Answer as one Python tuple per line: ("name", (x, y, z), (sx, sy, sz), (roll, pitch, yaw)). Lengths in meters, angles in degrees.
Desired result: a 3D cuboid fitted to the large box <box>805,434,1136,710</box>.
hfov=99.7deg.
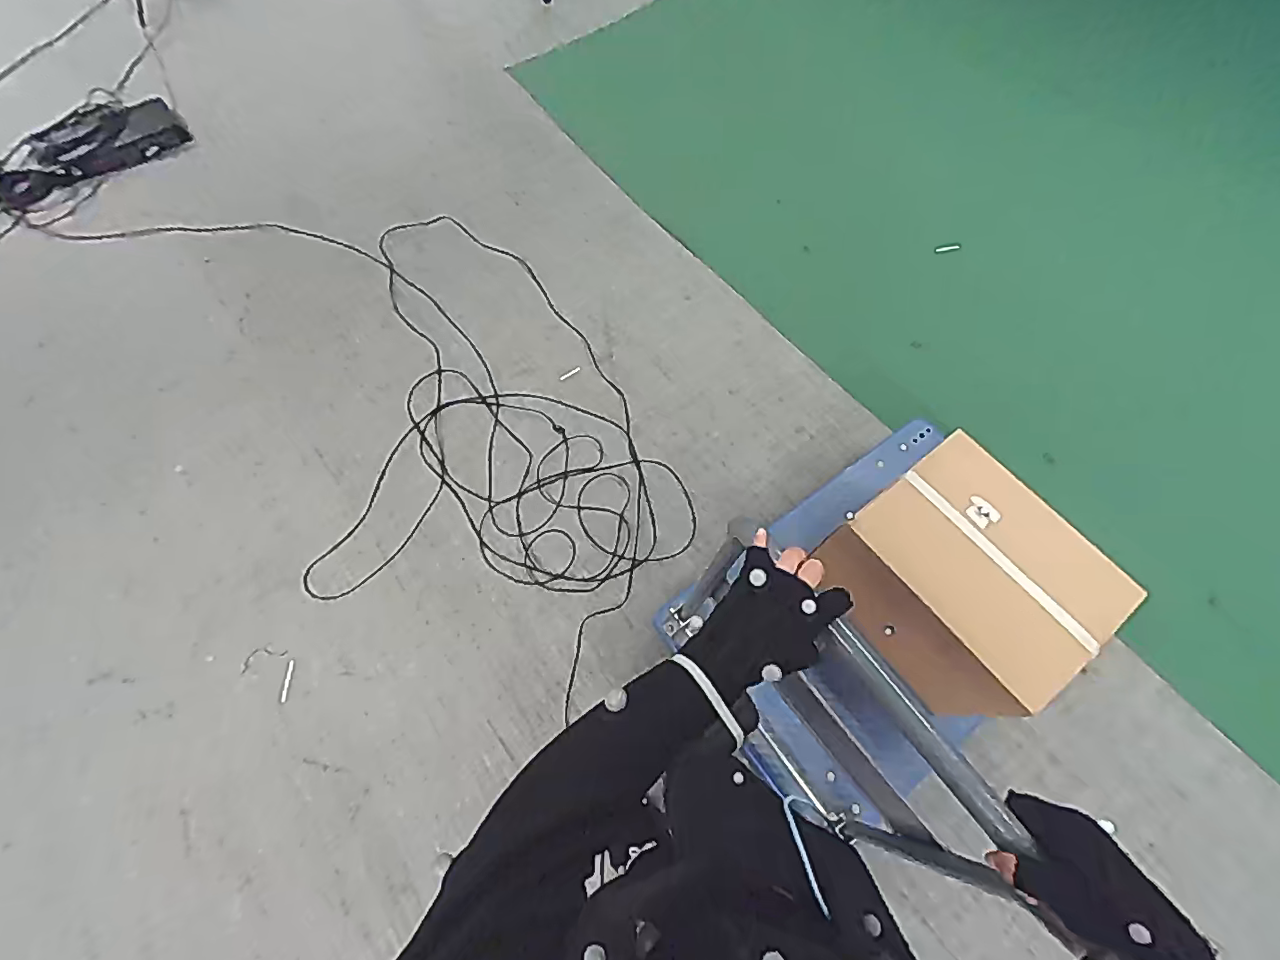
("large box", (0.613, 0.195, 1.086), (0.320, 0.320, 0.408), (-36, 71, -14))
